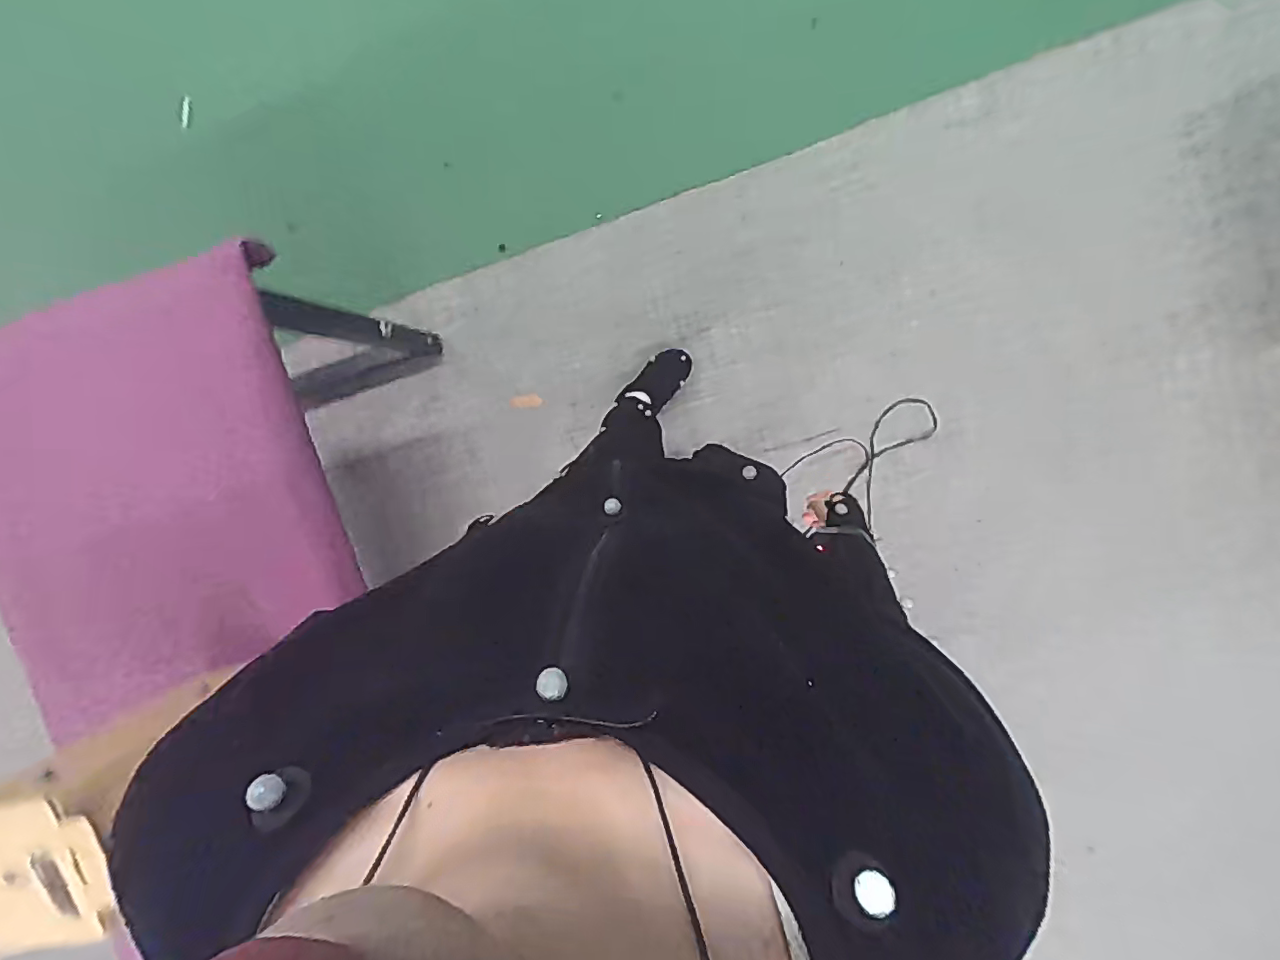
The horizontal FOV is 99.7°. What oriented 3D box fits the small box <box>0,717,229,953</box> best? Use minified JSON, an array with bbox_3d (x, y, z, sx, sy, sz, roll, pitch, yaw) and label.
[{"bbox_3d":[-0.644,0.411,0.651,0.179,0.176,0.168,-14,95,10],"label":"small box"}]
